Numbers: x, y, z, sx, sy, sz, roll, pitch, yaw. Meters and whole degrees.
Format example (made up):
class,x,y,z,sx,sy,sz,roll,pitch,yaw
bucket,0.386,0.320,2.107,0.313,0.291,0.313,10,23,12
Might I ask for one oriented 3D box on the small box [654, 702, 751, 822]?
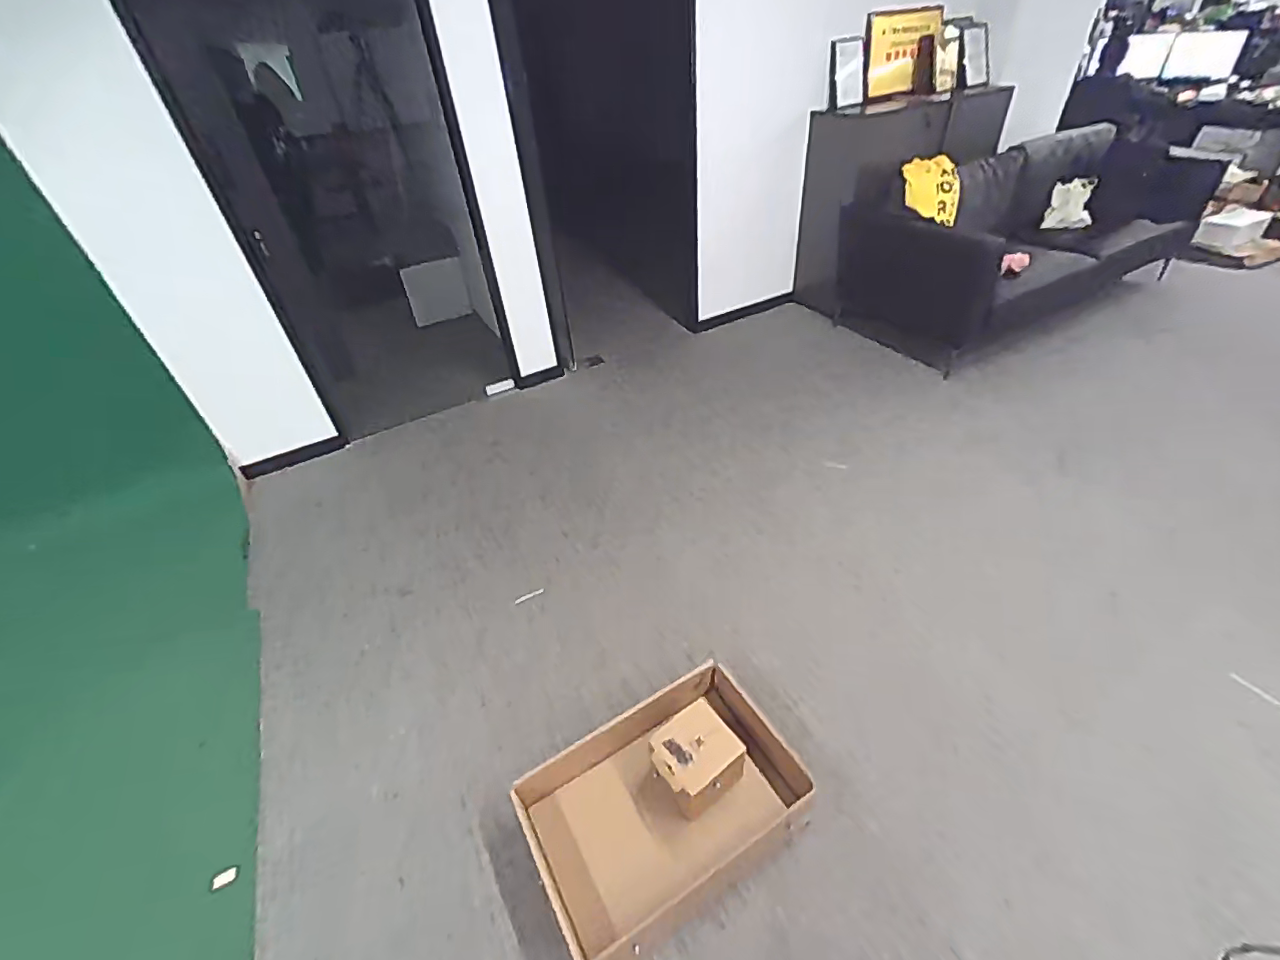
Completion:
class,x,y,z,sx,sy,sz,roll,pitch,yaw
small box,0.156,0.701,1.340,0.179,0.176,0.168,-29,45,-25
